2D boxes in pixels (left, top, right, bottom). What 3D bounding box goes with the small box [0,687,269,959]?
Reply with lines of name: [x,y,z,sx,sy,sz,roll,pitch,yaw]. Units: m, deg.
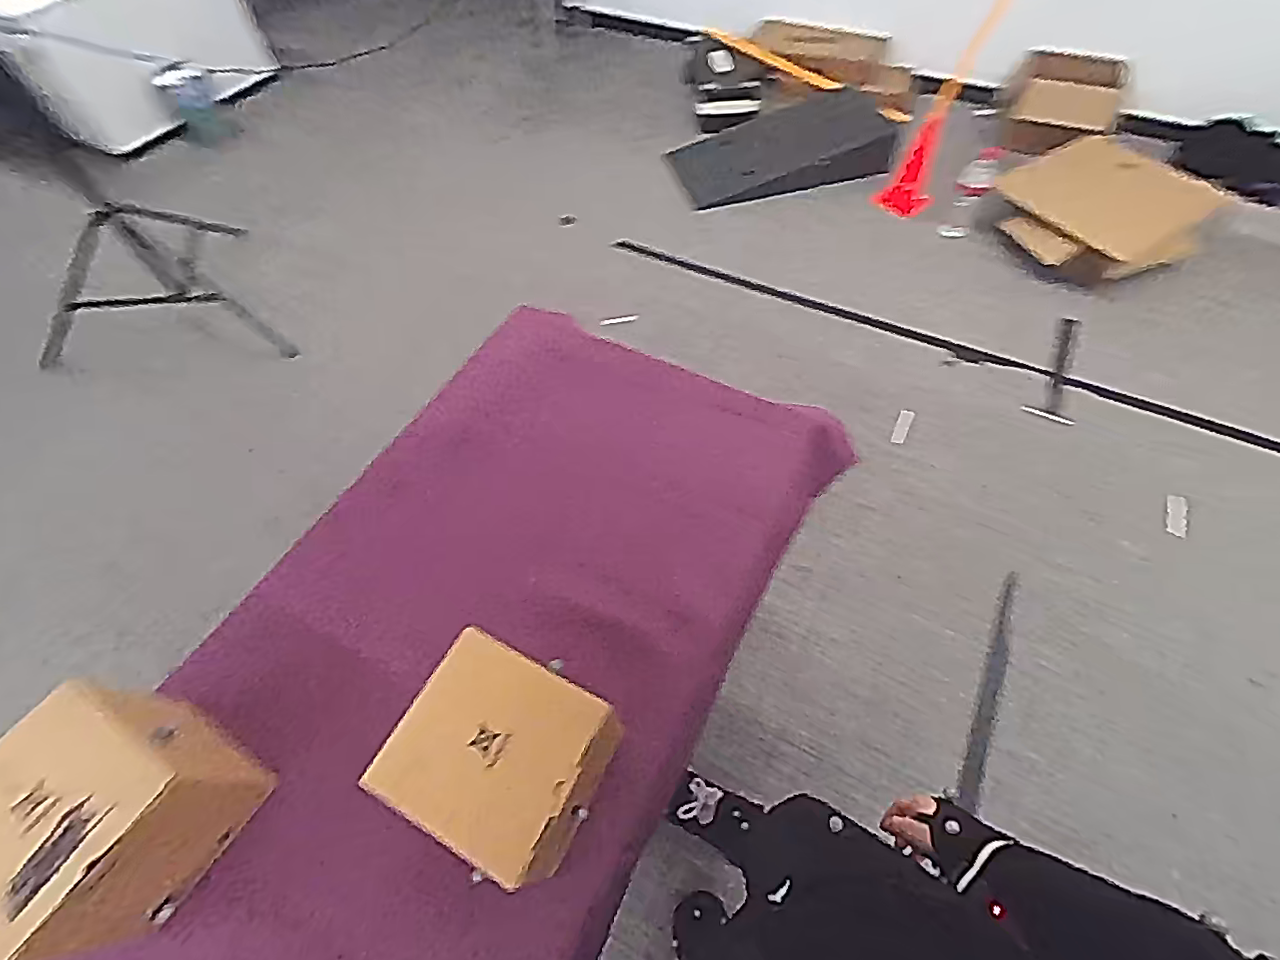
small box: [-0.541,0.344,0.556,0.179,0.176,0.168,26,62,16]

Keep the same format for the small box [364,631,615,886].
small box: [-0.142,0.295,0.581,0.179,0.176,0.168,23,61,16]
